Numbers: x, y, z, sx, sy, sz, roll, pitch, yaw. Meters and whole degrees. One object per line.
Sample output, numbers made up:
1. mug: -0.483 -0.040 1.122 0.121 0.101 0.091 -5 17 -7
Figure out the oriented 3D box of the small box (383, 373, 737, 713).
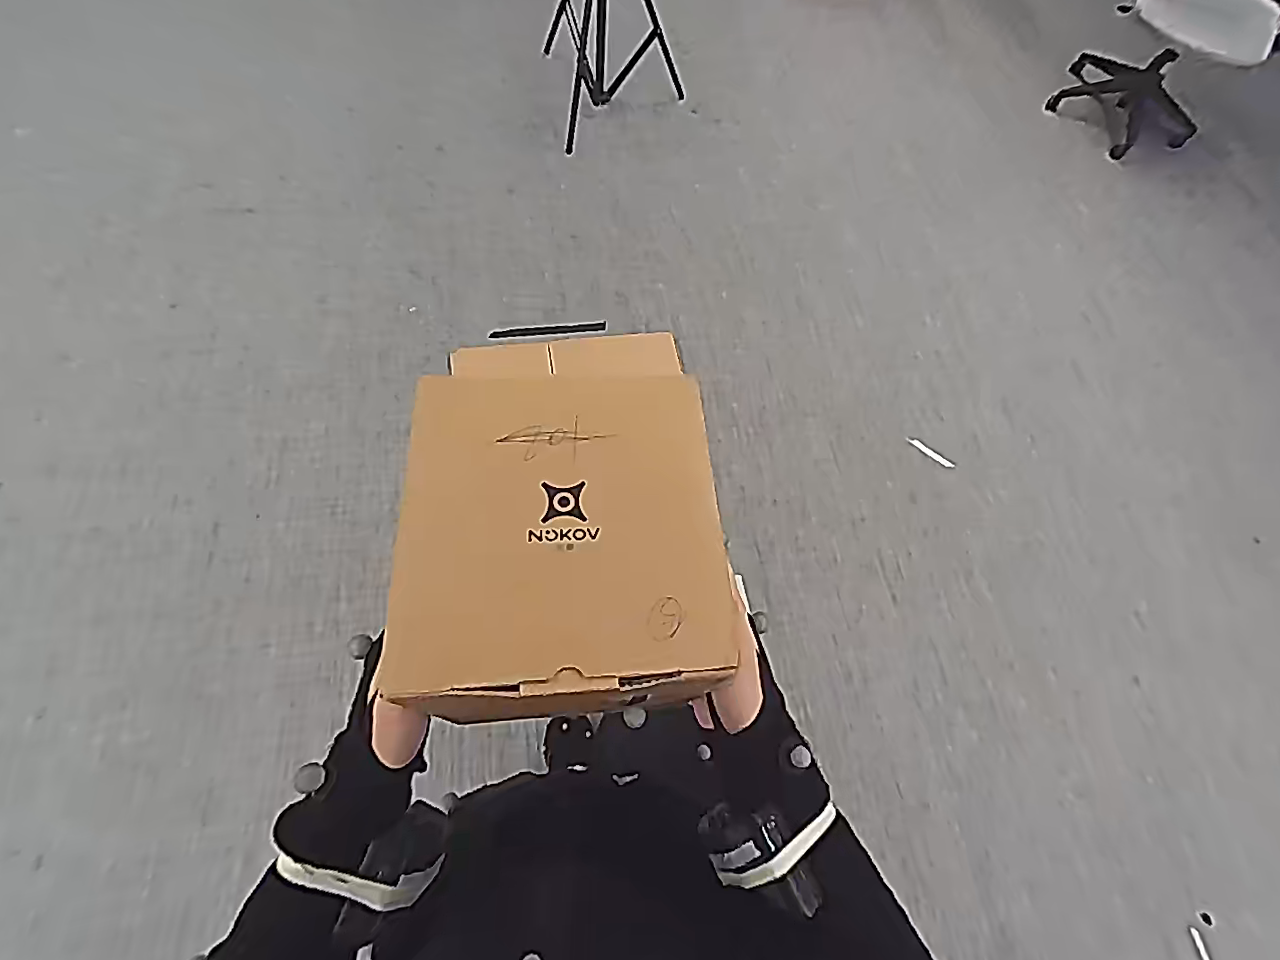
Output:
1. small box: -0.048 0.051 0.354 0.168 0.176 0.179 -2 62 -8
